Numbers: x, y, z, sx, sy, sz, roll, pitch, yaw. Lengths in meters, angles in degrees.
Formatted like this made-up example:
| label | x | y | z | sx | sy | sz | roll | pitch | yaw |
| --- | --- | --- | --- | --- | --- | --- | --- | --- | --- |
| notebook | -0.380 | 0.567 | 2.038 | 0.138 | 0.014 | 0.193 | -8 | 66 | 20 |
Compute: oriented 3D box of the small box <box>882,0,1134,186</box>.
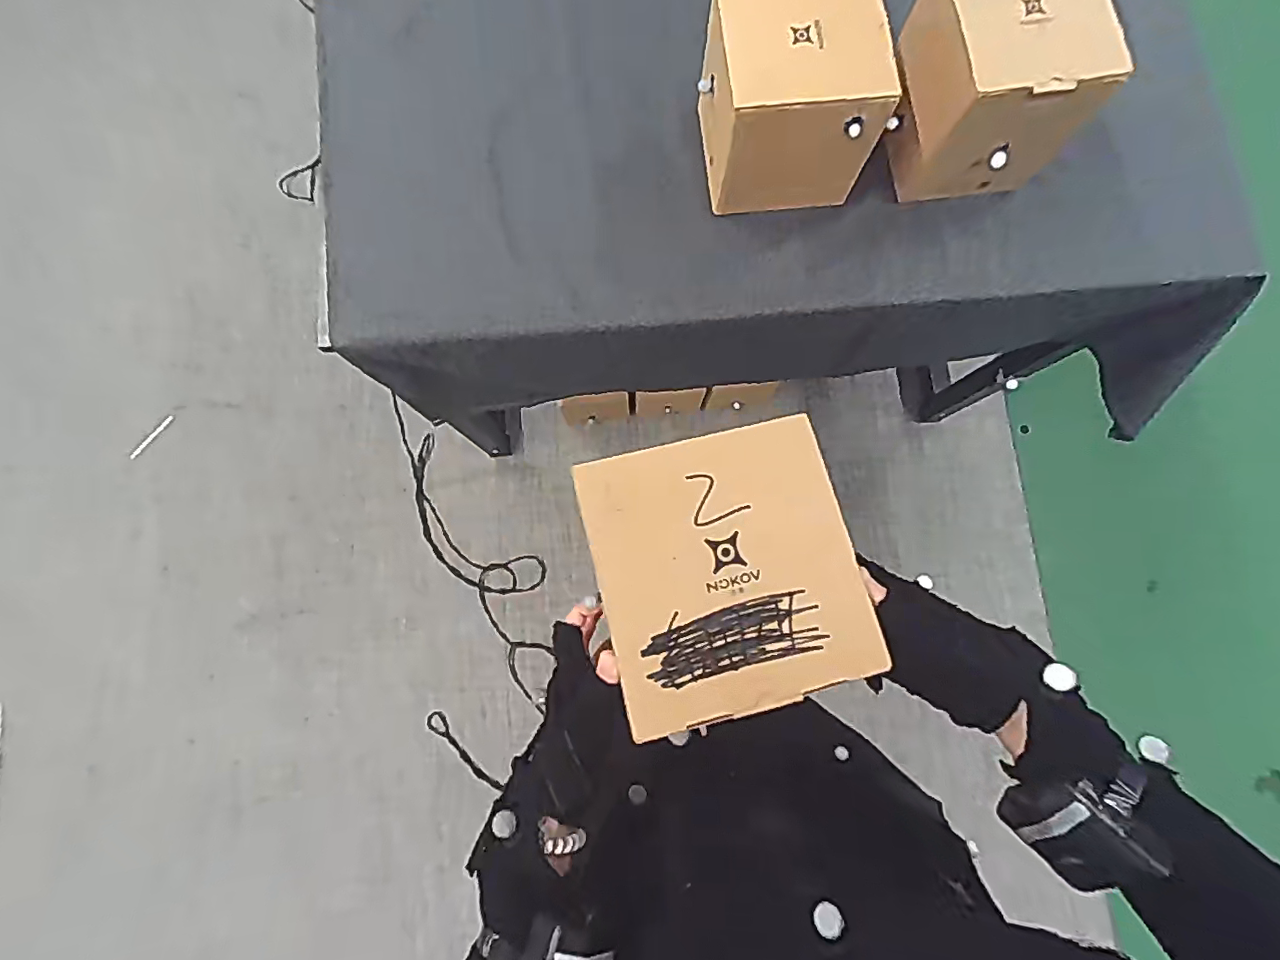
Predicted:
| label | x | y | z | sx | sy | sz | roll | pitch | yaw |
| --- | --- | --- | --- | --- | --- | --- | --- | --- | --- |
| small box | 0.414 | -0.477 | 0.641 | 0.168 | 0.176 | 0.179 | -6 | 81 | -3 |
